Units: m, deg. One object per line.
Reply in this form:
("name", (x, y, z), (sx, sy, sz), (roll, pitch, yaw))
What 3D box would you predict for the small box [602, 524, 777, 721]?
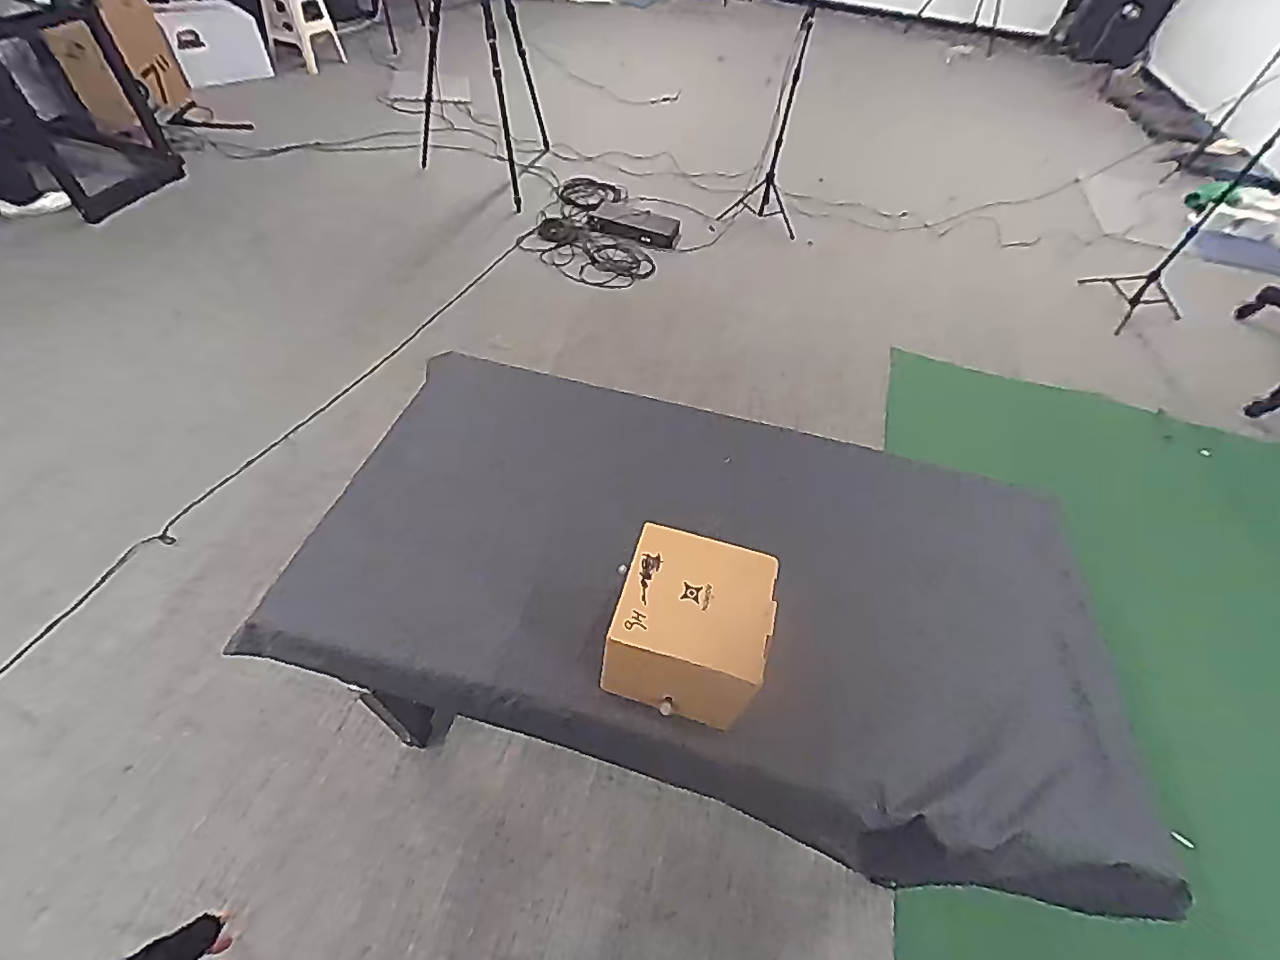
("small box", (0.059, 0.189, 0.697), (0.179, 0.176, 0.168), (16, 50, 5))
